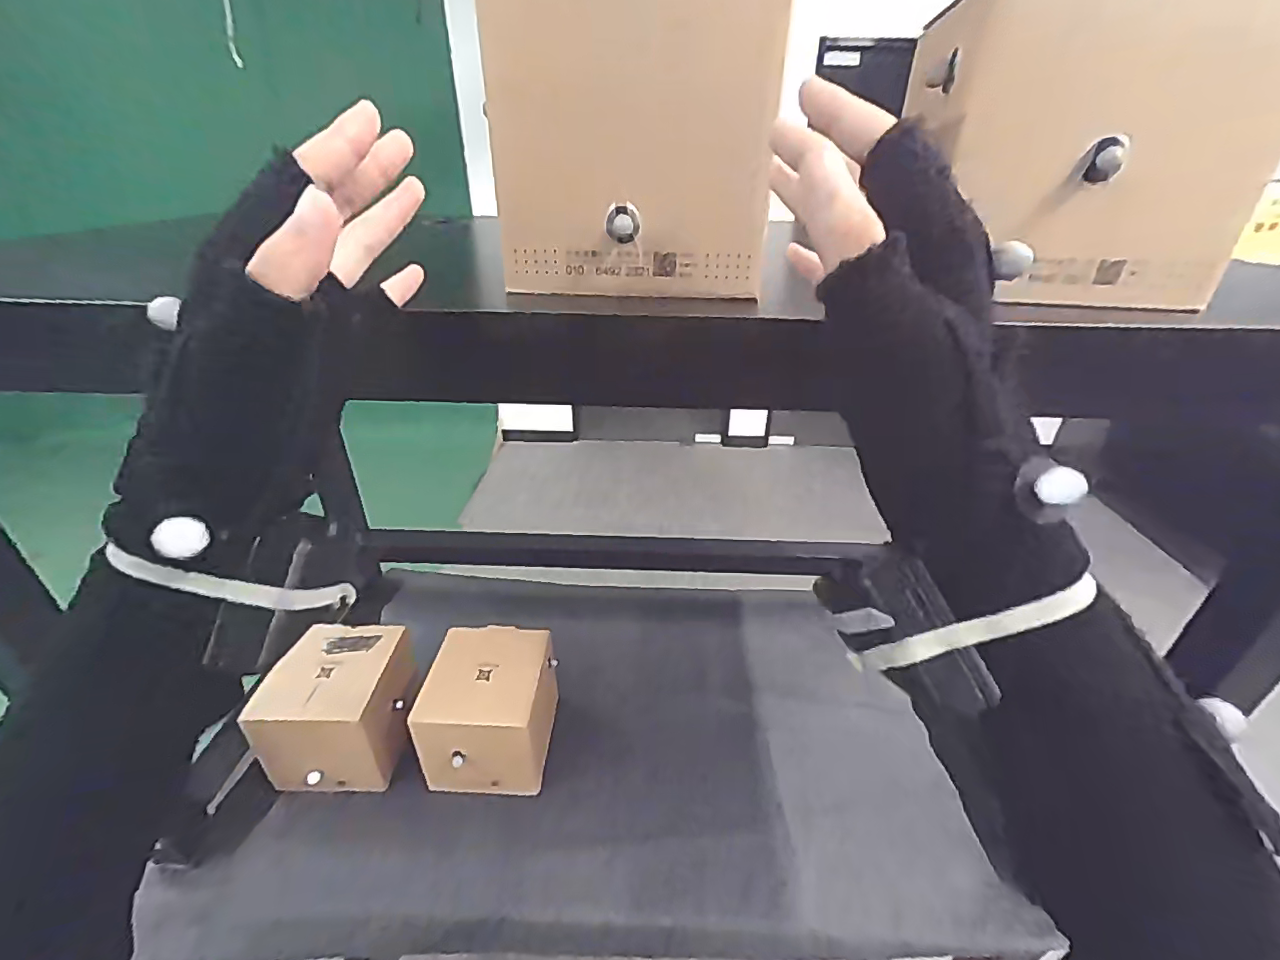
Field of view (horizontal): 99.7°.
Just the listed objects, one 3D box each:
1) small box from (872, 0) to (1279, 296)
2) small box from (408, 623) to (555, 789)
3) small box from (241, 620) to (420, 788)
[{"bbox_3d":[0.274,-0.230,0.374,0.168,0.176,0.179,6,30,9],"label":"small box"},{"bbox_3d":[-0.227,0.345,0.832,0.168,0.176,0.179,2,29,1],"label":"small box"},{"bbox_3d":[-0.454,0.339,0.831,0.168,0.176,0.179,1,30,0],"label":"small box"}]
